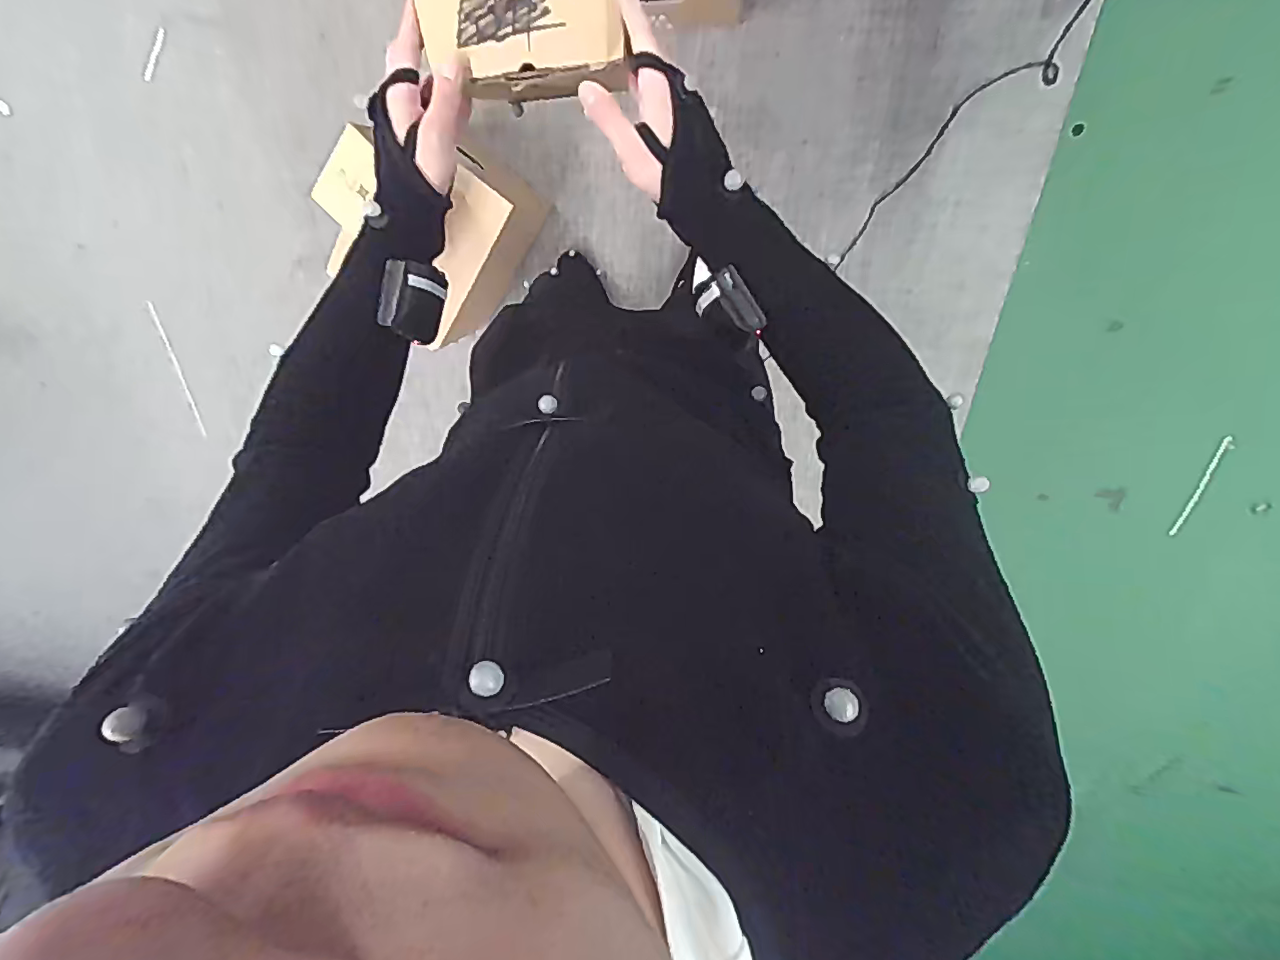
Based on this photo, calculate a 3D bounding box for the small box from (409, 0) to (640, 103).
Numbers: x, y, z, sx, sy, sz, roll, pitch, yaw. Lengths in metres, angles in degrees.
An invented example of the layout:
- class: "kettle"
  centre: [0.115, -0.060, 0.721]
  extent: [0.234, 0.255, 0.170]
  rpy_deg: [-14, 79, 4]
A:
- class: "small box"
  centre: [-0.093, -0.440, 0.466]
  extent: [0.168, 0.176, 0.179]
  rpy_deg: [-2, 119, 7]

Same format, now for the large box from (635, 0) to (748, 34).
- class: "large box"
  centre: [0.052, -1.109, 0.985]
  extent: [0.320, 0.320, 0.408]
  rpy_deg: [4, 117, 7]
